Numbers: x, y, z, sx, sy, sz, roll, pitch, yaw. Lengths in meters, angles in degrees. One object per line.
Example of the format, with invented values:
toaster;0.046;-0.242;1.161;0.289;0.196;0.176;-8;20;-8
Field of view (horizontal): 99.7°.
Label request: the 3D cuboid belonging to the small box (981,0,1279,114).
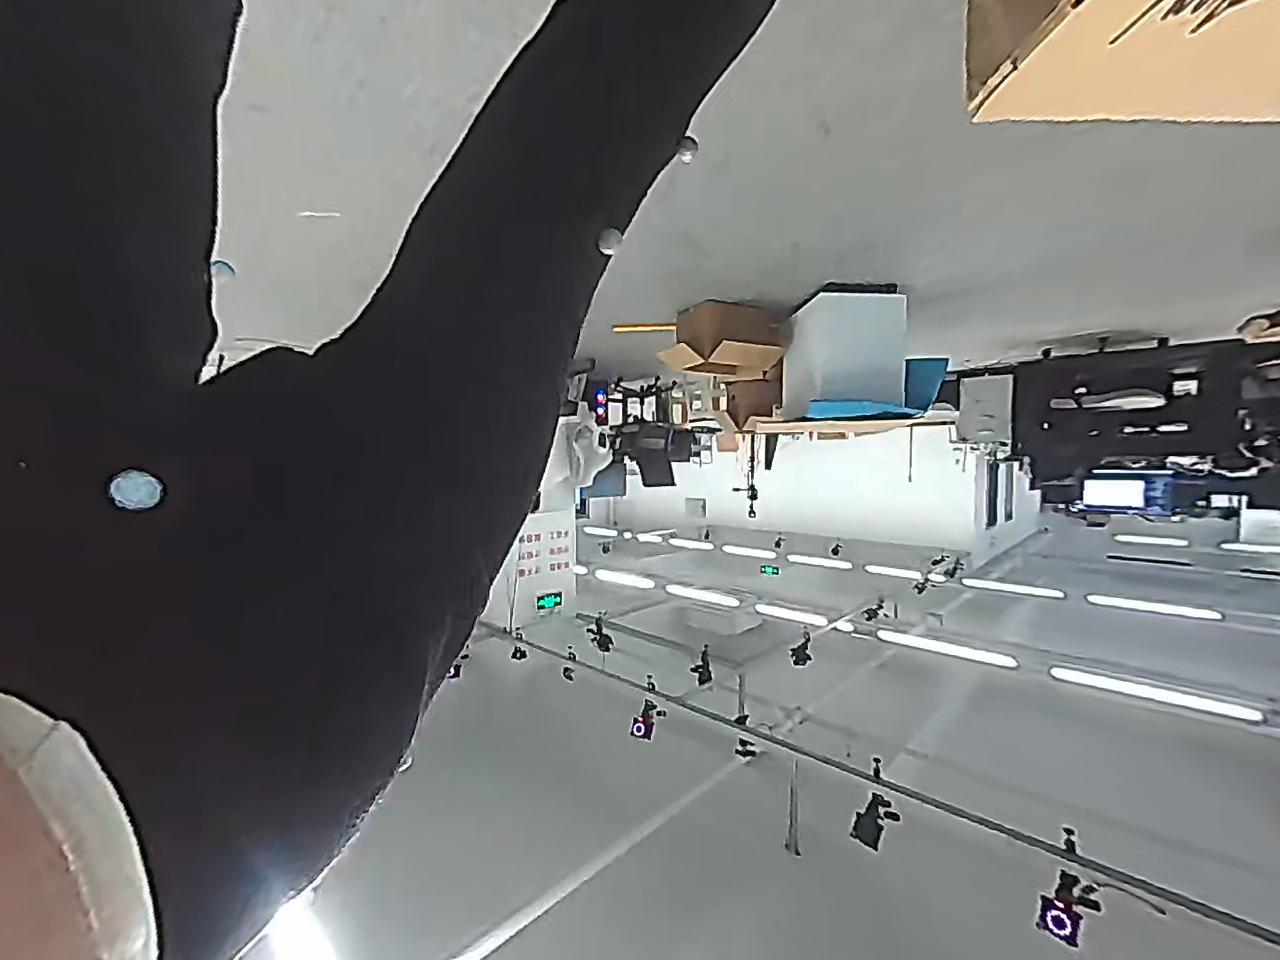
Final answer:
small box;0.238;-0.250;0.164;0.179;0.176;0.168;-1;-178;-1
